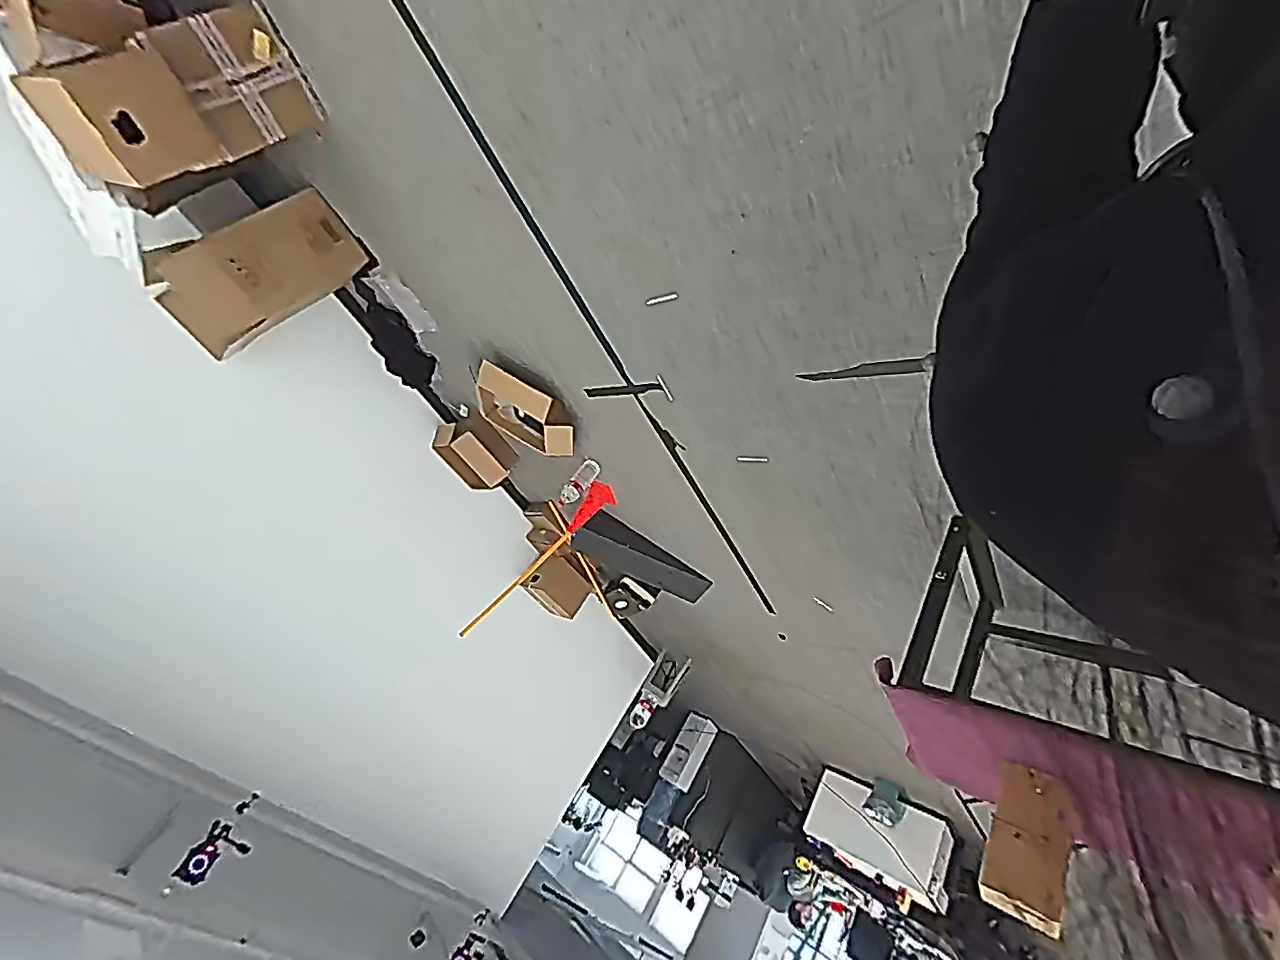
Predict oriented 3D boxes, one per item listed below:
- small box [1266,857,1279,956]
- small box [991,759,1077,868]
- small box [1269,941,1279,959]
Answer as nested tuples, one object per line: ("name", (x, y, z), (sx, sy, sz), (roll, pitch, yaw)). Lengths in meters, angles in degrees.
("small box", (1.415, 0.913, 1.102), (0.168, 0.176, 0.179), (5, 139, 44))
("small box", (1.066, 0.898, 1.465), (0.168, 0.176, 0.179), (8, 141, 40))
("small box", (1.331, 1.033, 1.028), (0.168, 0.176, 0.179), (4, 139, 45))
